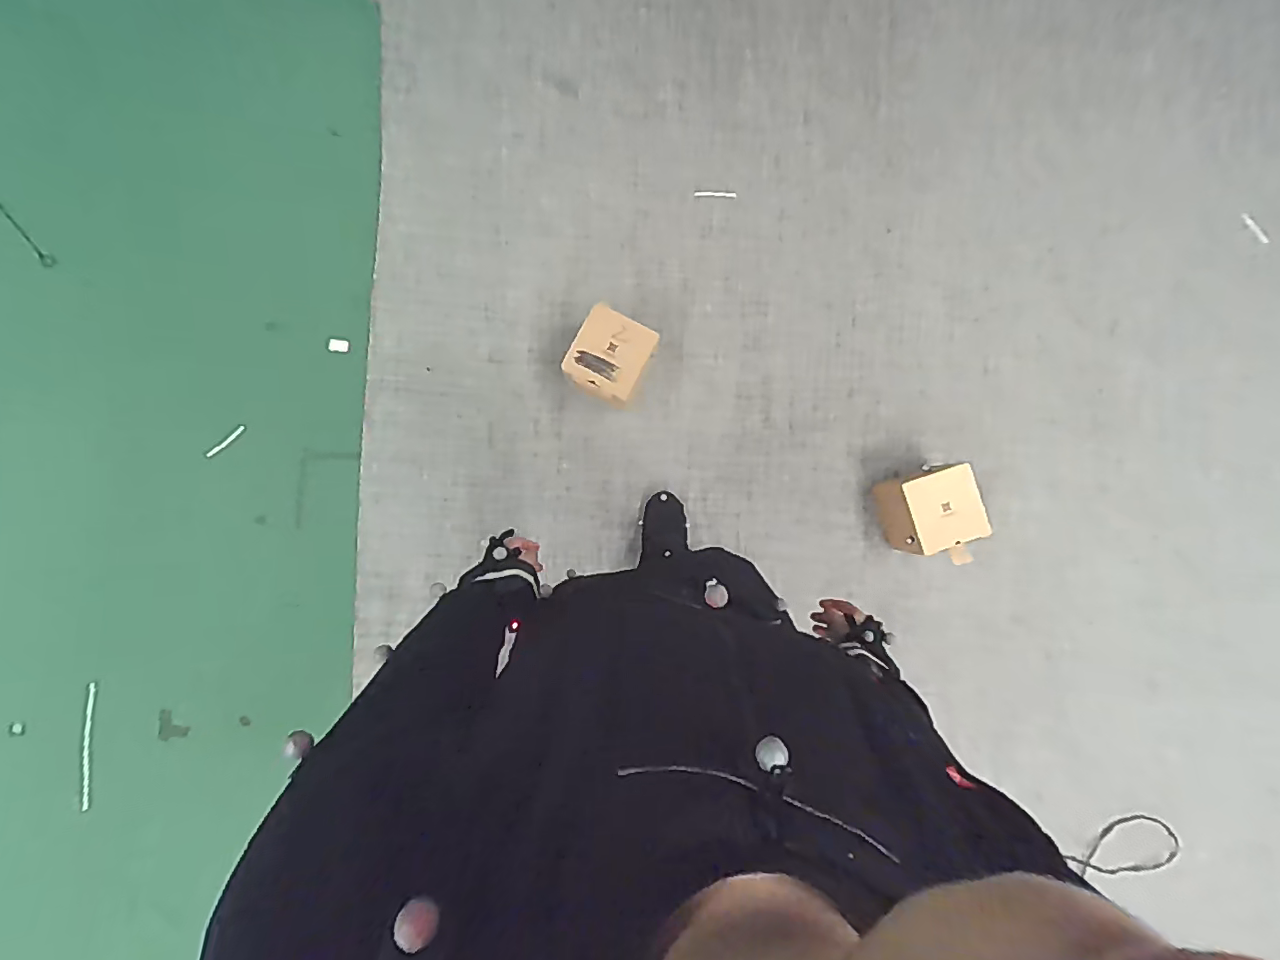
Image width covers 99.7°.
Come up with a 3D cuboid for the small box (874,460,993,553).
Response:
[{"bbox_3d":[0.694,0.063,1.298,0.168,0.176,0.179,-19,90,-1],"label":"small box"}]
